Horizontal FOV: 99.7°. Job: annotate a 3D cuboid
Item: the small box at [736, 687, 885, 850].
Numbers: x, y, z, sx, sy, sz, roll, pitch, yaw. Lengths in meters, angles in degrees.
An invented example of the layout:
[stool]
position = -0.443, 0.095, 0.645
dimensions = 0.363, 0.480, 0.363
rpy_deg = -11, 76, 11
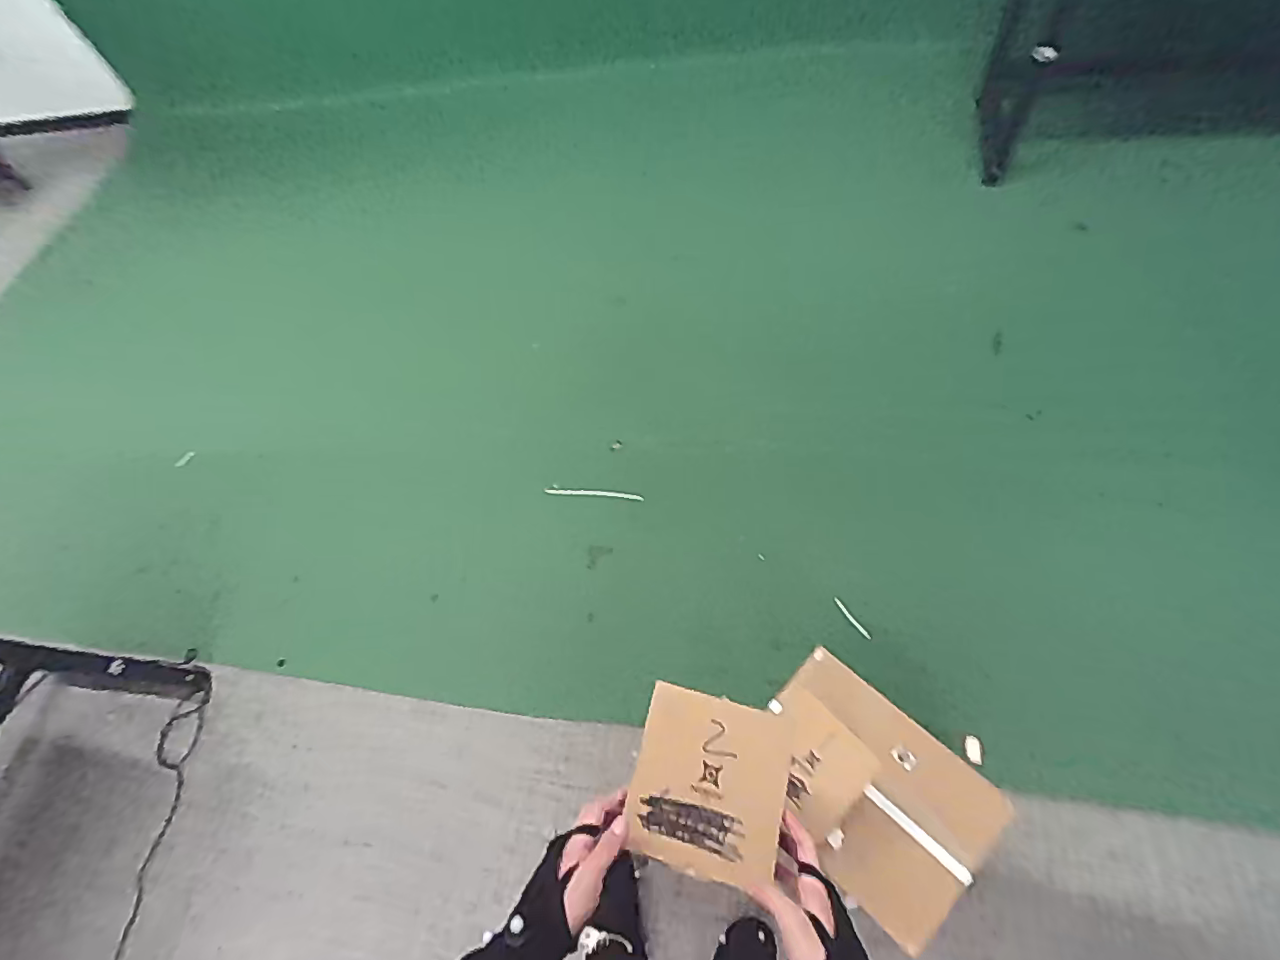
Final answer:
[small box]
position = 0.286, 0.493, 0.938
dimensions = 0.179, 0.176, 0.168
rpy_deg = -42, 64, -13
